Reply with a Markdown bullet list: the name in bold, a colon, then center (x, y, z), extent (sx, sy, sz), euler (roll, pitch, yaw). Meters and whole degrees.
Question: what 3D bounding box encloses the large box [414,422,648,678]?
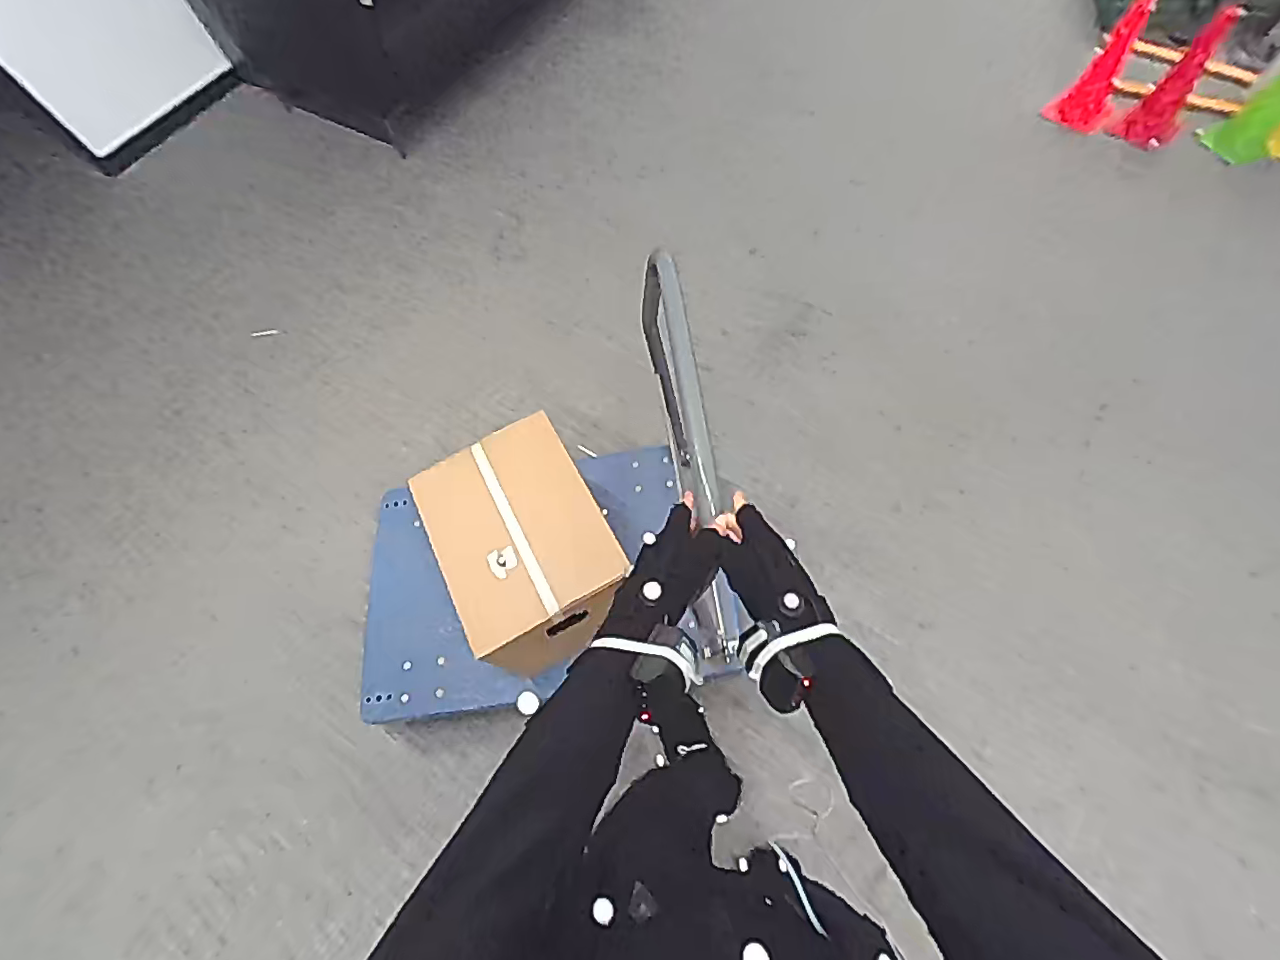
- **large box**: center (-0.221, 0.158, 1.176), extent (0.320, 0.320, 0.408), euler (-30, 65, -7)
